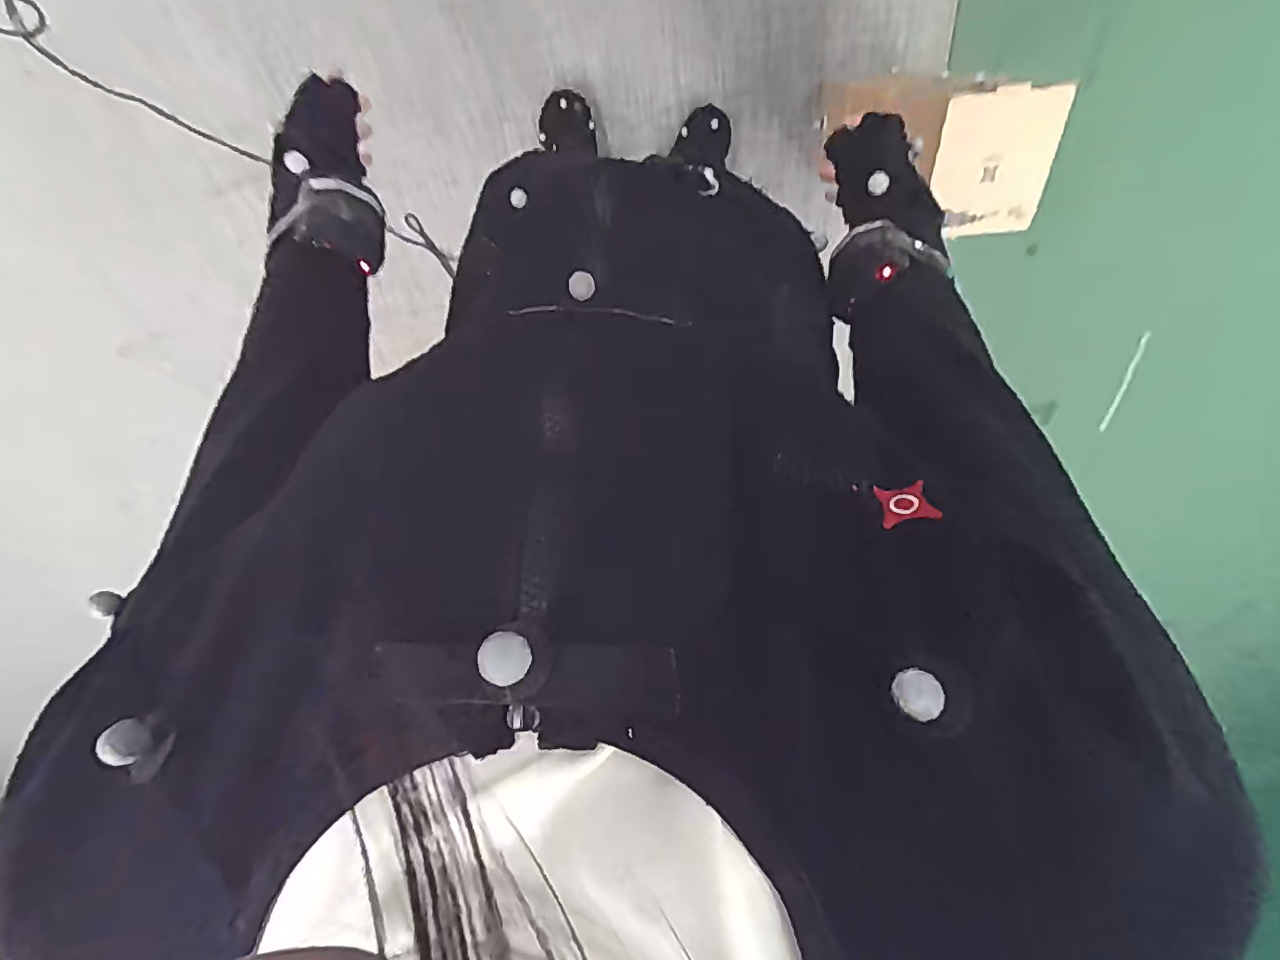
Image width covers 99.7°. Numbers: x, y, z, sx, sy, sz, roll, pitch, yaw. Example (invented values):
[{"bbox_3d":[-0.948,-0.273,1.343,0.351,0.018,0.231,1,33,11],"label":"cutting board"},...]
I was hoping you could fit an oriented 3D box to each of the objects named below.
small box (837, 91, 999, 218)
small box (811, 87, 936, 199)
[{"bbox_3d":[0.466,-0.567,0.938,0.179,0.176,0.168,-4,127,1],"label":"small box"},{"bbox_3d":[0.455,-0.668,1.068,0.179,0.176,0.168,-4,127,2],"label":"small box"}]
